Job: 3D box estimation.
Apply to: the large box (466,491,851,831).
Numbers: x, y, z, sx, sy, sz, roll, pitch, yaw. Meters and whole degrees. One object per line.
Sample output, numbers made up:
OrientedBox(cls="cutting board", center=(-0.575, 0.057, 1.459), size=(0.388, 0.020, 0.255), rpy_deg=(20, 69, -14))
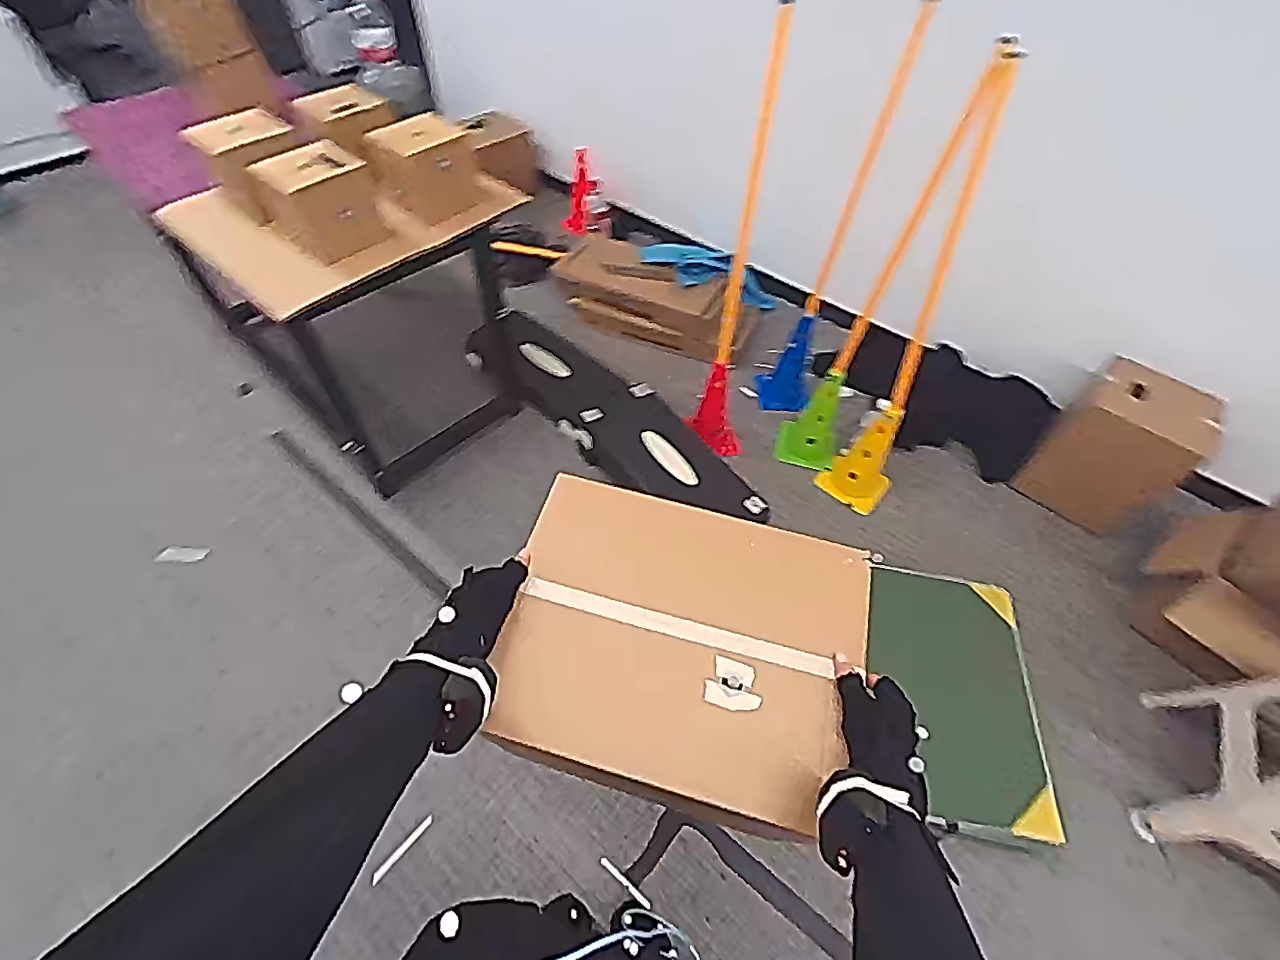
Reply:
OrientedBox(cls="large box", center=(0.033, 0.258, 0.751), size=(0.408, 0.320, 0.320), rpy_deg=(13, 59, 5))
